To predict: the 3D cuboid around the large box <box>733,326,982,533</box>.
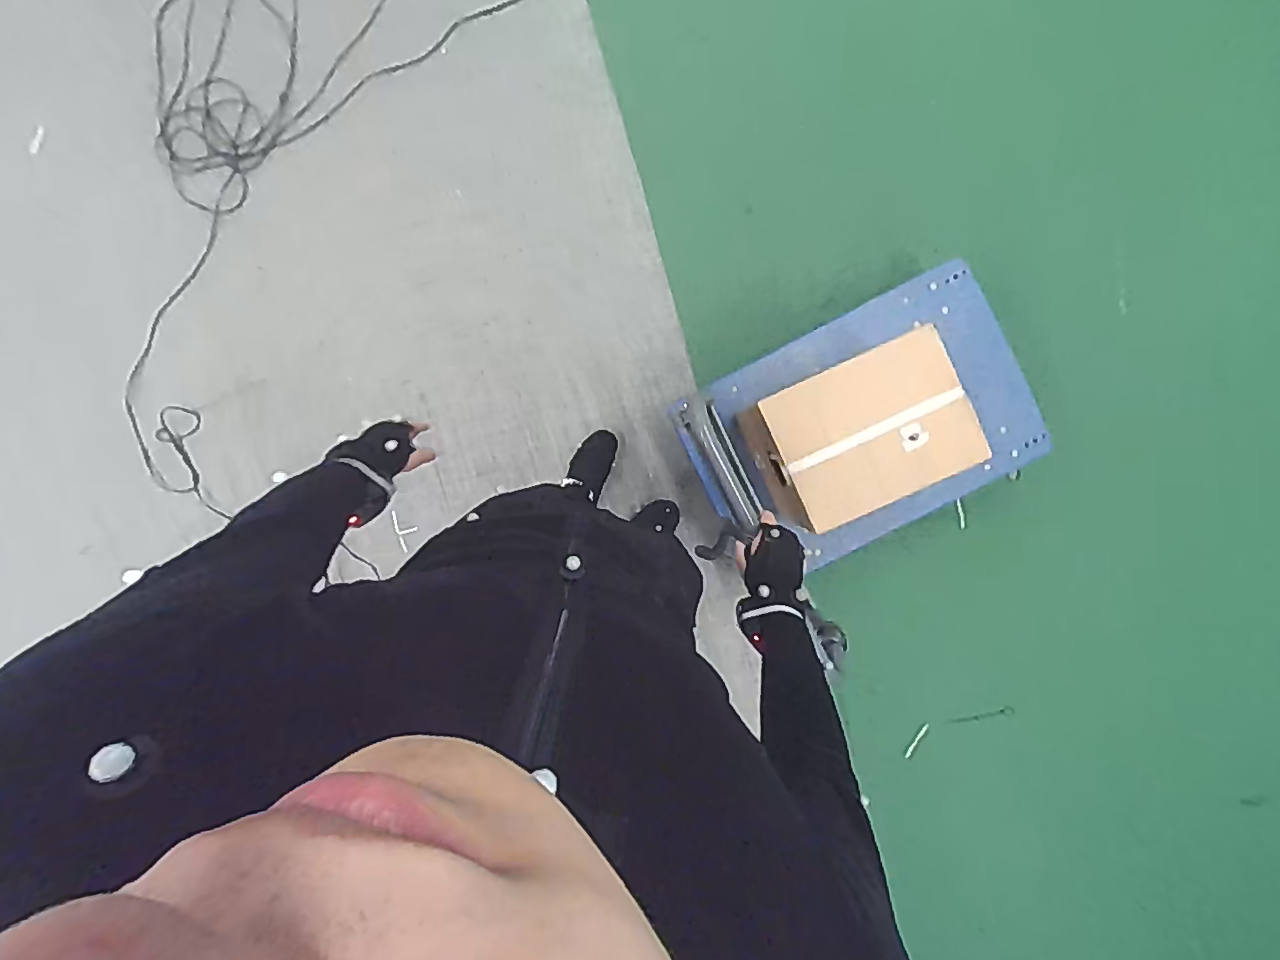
[{"bbox_3d":[0.484,-0.108,1.290,0.408,0.320,0.320,-24,92,1],"label":"large box"}]
